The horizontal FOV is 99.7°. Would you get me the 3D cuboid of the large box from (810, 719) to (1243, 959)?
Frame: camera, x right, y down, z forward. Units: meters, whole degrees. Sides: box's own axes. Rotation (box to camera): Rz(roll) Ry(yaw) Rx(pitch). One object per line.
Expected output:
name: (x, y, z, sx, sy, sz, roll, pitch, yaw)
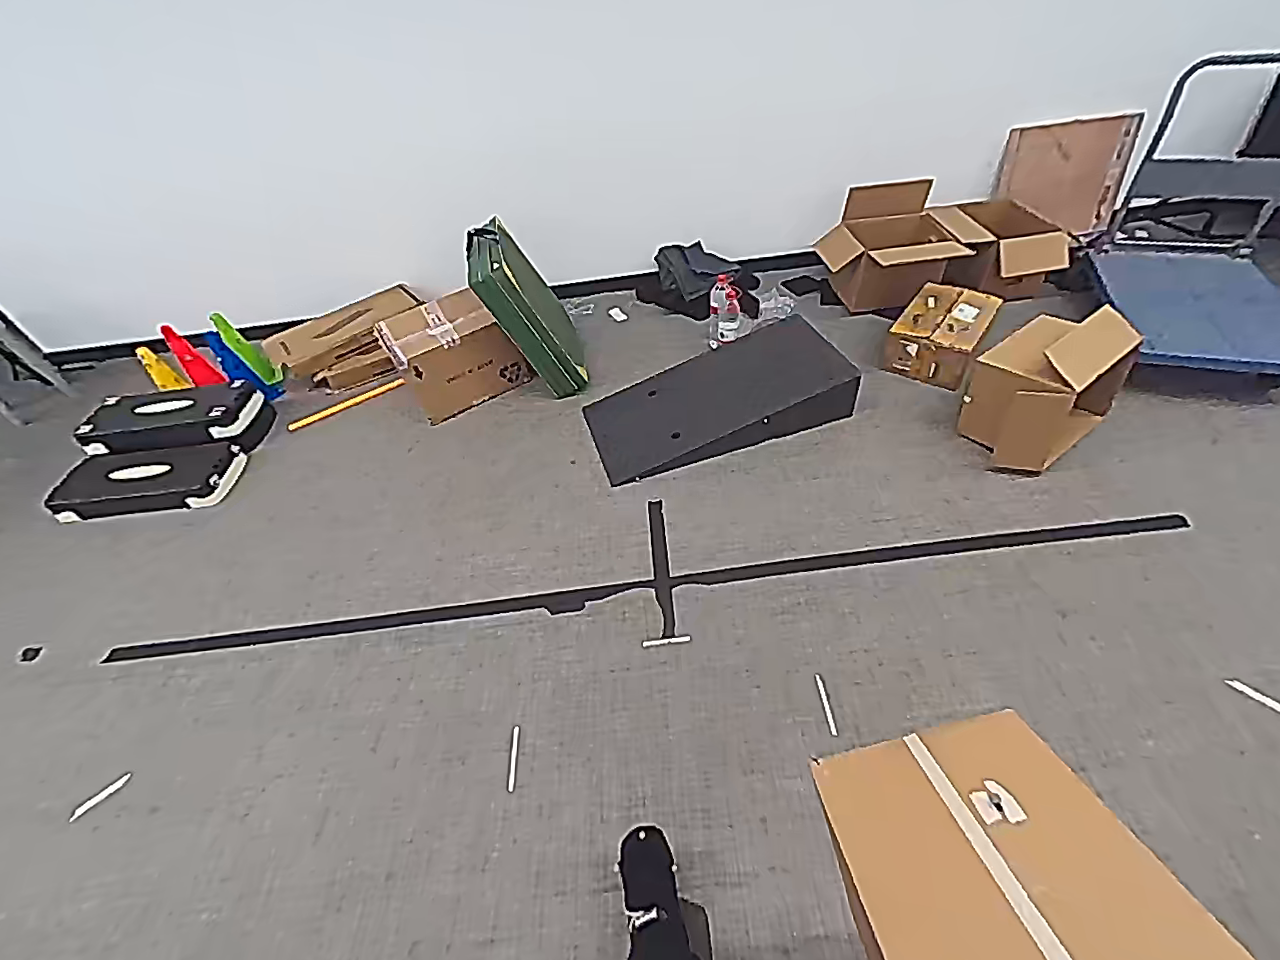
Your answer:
large box: (0.457, 0.594, 0.676, 0.320, 0.320, 0.408, -16, 15, 4)
